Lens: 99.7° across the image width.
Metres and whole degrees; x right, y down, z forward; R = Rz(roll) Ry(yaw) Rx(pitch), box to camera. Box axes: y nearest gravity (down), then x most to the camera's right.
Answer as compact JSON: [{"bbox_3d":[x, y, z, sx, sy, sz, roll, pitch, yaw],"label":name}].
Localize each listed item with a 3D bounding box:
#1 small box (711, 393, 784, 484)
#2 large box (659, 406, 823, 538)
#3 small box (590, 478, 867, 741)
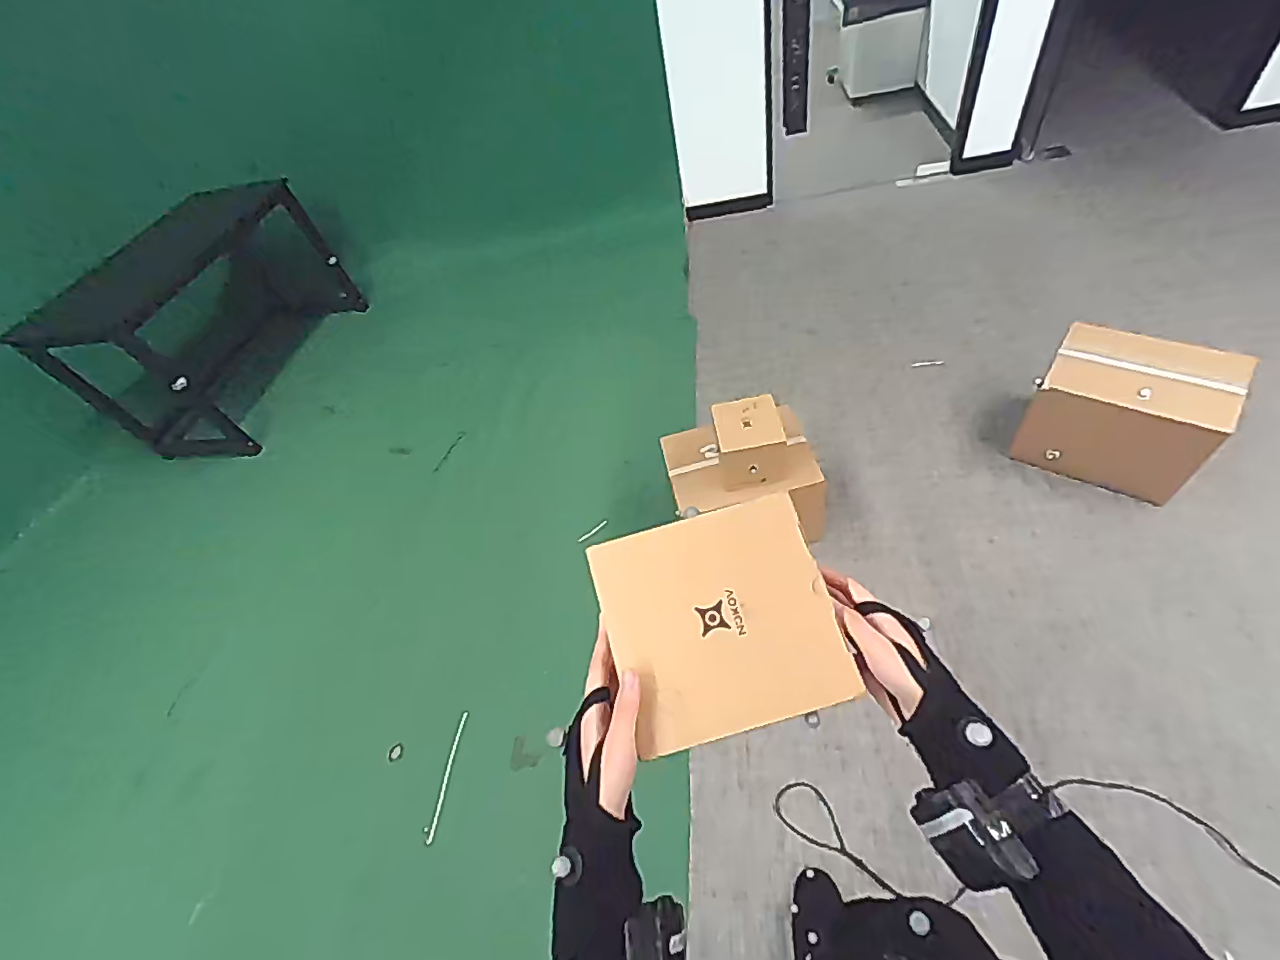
[{"bbox_3d":[0.289,-0.104,1.453,0.168,0.176,0.179,-9,51,5],"label":"small box"},{"bbox_3d":[0.306,0.031,1.663,0.408,0.320,0.320,-15,49,3],"label":"large box"},{"bbox_3d":[0.068,0.120,0.491,0.179,0.176,0.168,-16,71,-2],"label":"small box"}]
